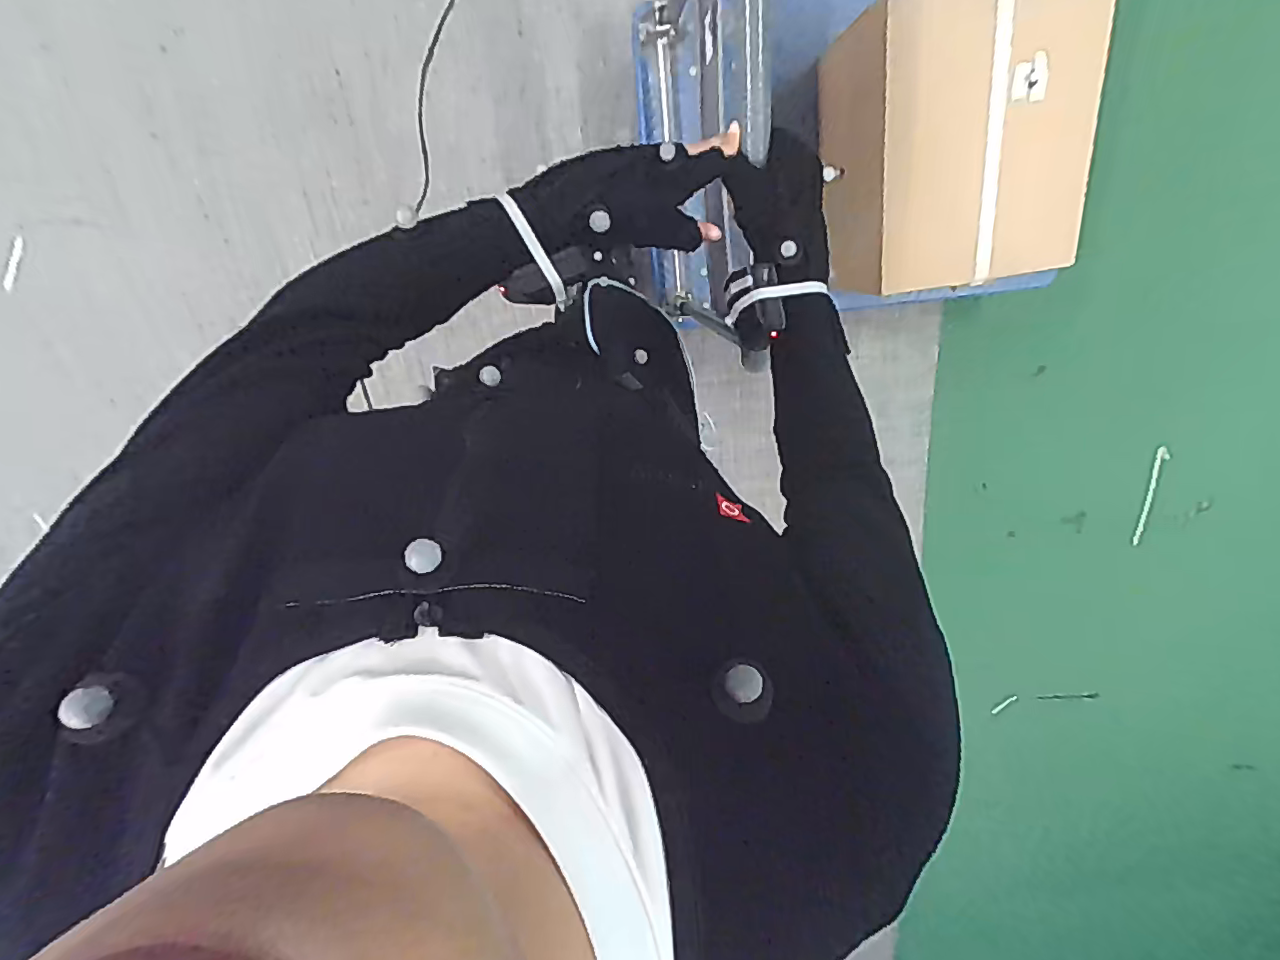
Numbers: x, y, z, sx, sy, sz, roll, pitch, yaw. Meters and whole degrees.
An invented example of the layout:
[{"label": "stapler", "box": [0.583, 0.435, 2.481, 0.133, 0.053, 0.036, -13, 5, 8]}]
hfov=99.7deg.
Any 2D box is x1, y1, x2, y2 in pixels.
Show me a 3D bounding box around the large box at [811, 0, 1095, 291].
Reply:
[{"label": "large box", "box": [0.503, -0.571, 0.949, 0.320, 0.320, 0.408, -9, 112, 1]}]
